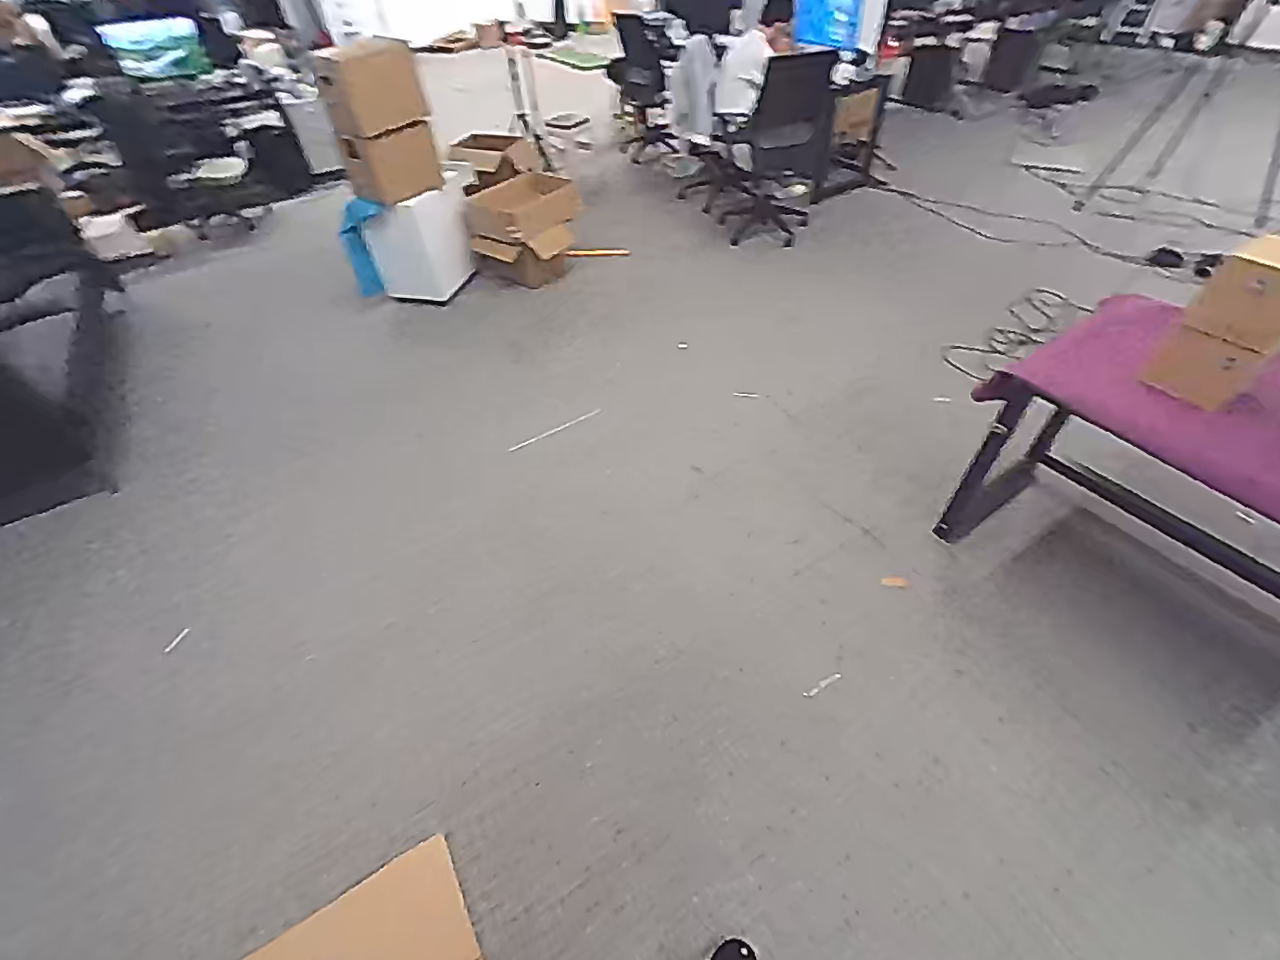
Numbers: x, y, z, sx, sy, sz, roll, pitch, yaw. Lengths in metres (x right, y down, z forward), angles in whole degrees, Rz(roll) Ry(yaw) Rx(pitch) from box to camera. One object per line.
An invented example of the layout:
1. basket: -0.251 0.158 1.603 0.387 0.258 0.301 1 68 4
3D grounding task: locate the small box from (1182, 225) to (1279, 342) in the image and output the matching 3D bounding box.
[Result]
1. small box: 1.365 -0.421 1.175 0.168 0.176 0.179 -28 50 -19

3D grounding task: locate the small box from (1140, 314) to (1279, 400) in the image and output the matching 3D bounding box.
1. small box: 1.378 -0.313 1.294 0.168 0.176 0.179 -27 51 -19
